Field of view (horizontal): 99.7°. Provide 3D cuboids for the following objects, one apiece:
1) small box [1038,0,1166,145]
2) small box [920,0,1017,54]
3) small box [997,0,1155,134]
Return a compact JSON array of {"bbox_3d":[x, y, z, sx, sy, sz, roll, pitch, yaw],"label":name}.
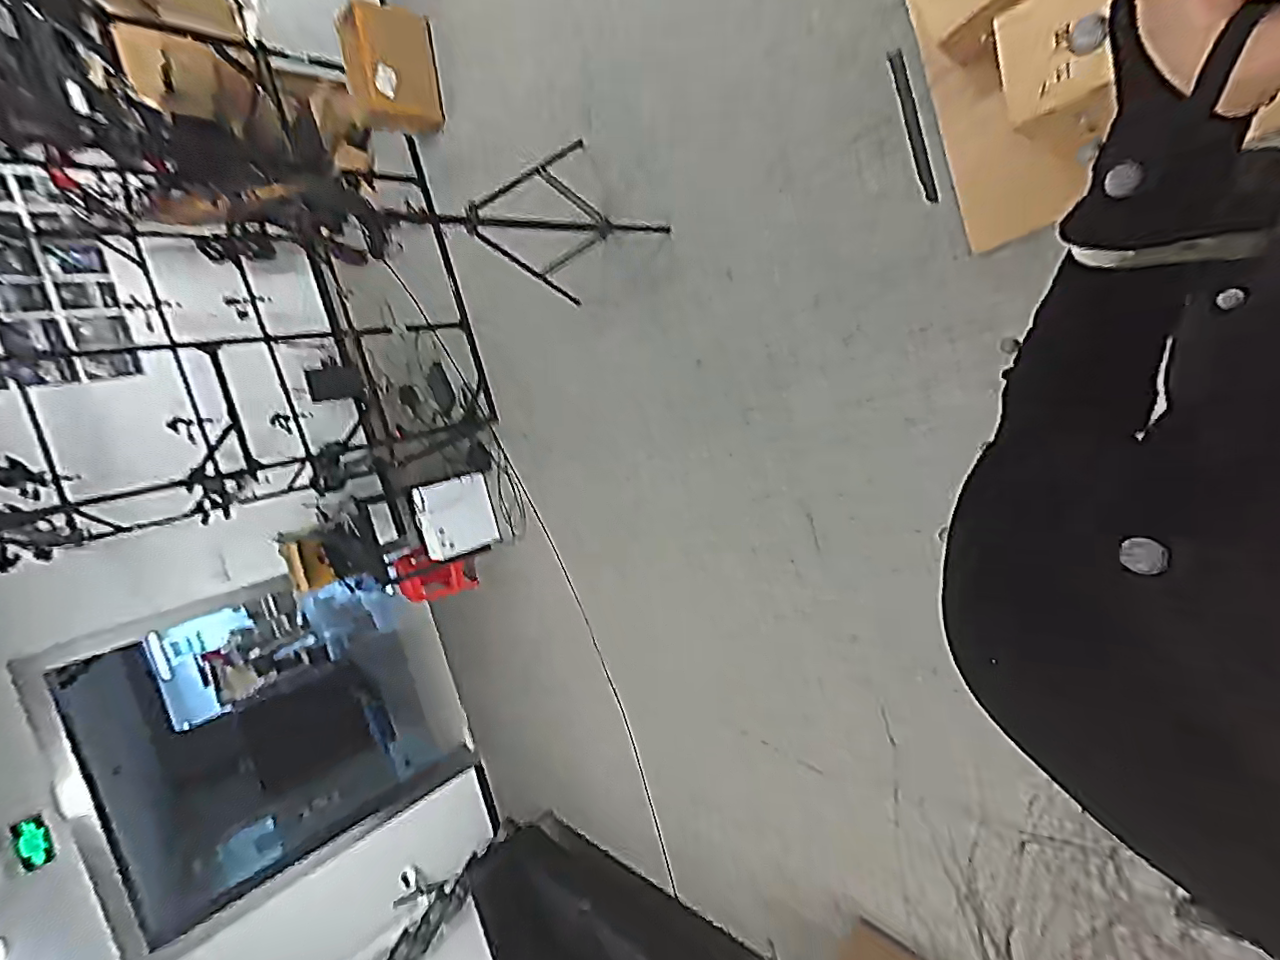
[{"bbox_3d":[0.825,-0.744,0.980,0.168,0.176,0.179,-8,100,49],"label":"small box"},{"bbox_3d":[0.665,-0.991,1.062,0.168,0.176,0.179,-21,89,52],"label":"small box"},{"bbox_3d":[0.706,-0.698,0.876,0.168,0.176,0.179,-6,102,50],"label":"small box"}]
